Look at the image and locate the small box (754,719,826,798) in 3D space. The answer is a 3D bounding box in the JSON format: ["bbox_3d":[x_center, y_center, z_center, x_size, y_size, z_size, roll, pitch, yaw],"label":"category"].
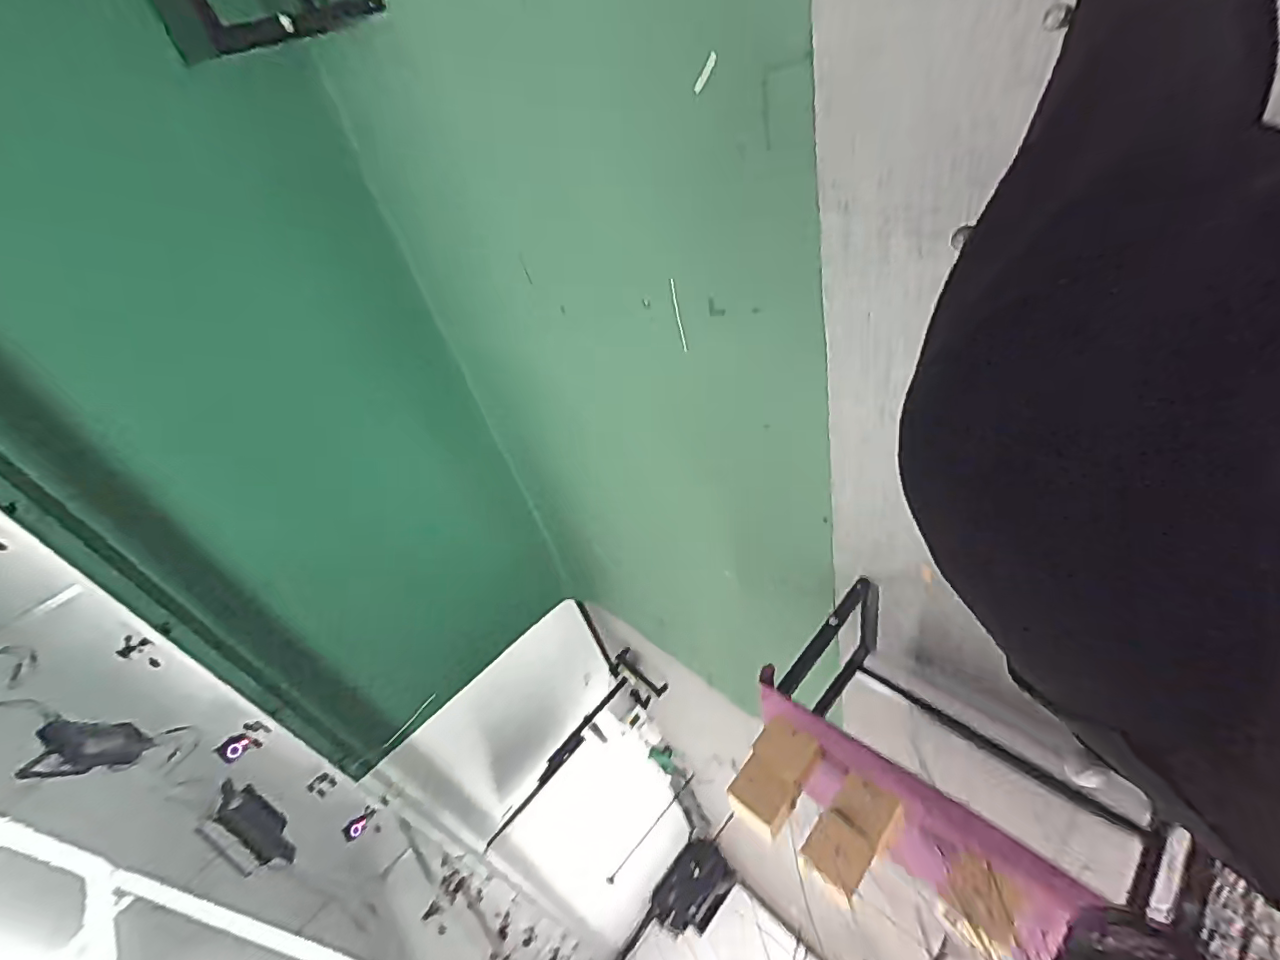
[{"bbox_3d":[0.537,0.985,1.923,0.179,0.176,0.168,21,141,44],"label":"small box"}]

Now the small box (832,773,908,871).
[{"bbox_3d":[0.747,1.096,1.742,0.168,0.176,0.179,19,140,46],"label":"small box"}]

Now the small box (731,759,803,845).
[{"bbox_3d":[0.434,1.088,1.846,0.179,0.176,0.168,25,144,39],"label":"small box"}]

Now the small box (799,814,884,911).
[{"bbox_3d":[0.617,1.168,1.666,0.179,0.176,0.168,30,148,34],"label":"small box"}]
